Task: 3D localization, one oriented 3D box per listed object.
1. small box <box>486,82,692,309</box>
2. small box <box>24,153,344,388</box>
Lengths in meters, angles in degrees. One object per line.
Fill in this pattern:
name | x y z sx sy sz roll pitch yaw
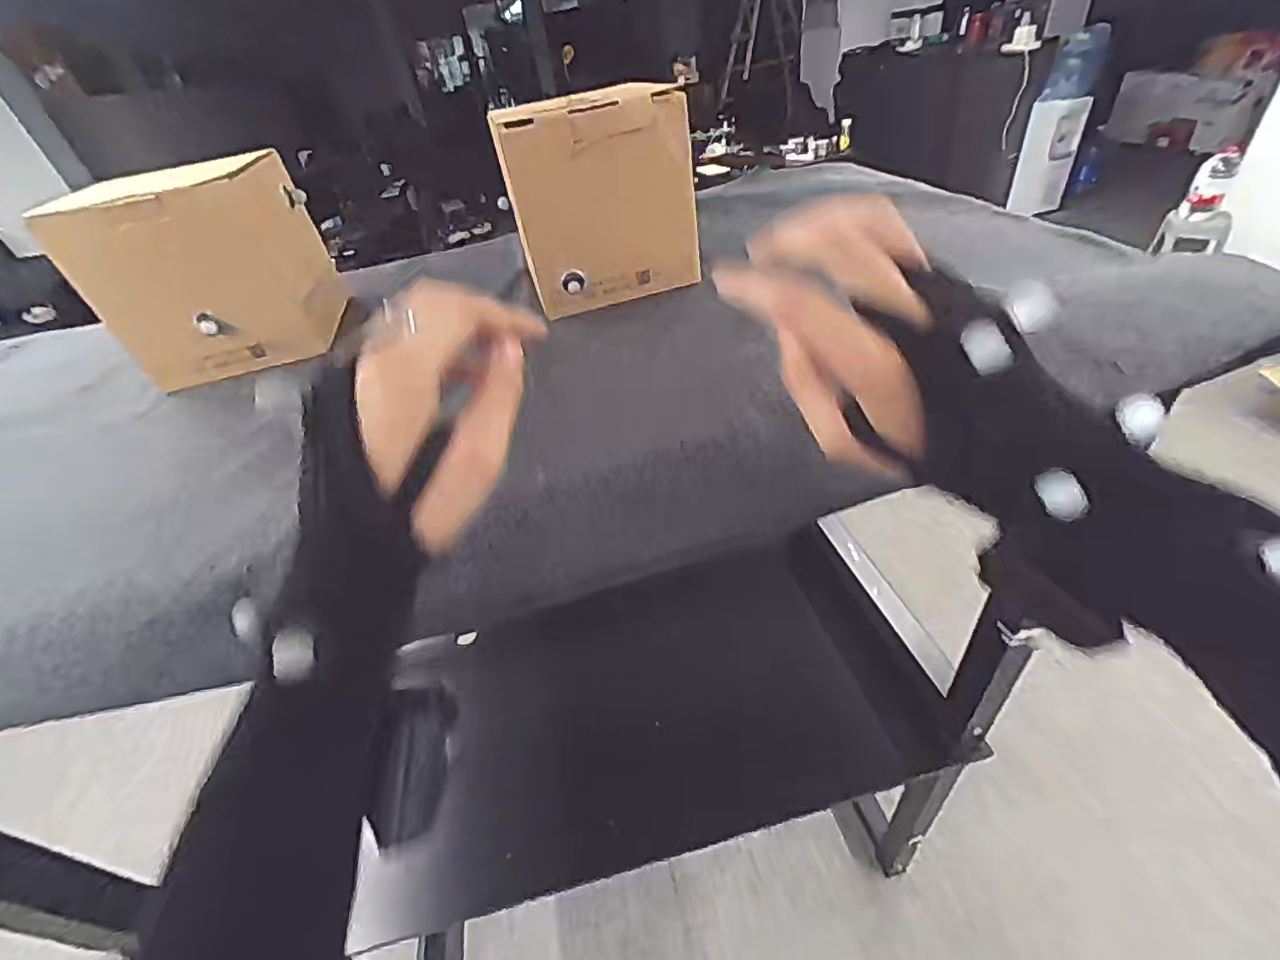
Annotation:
small box | -0.051 -0.294 0.565 0.168 0.176 0.179 -16 39 -6
small box | -0.437 -0.220 0.563 0.168 0.176 0.179 -17 41 -7
